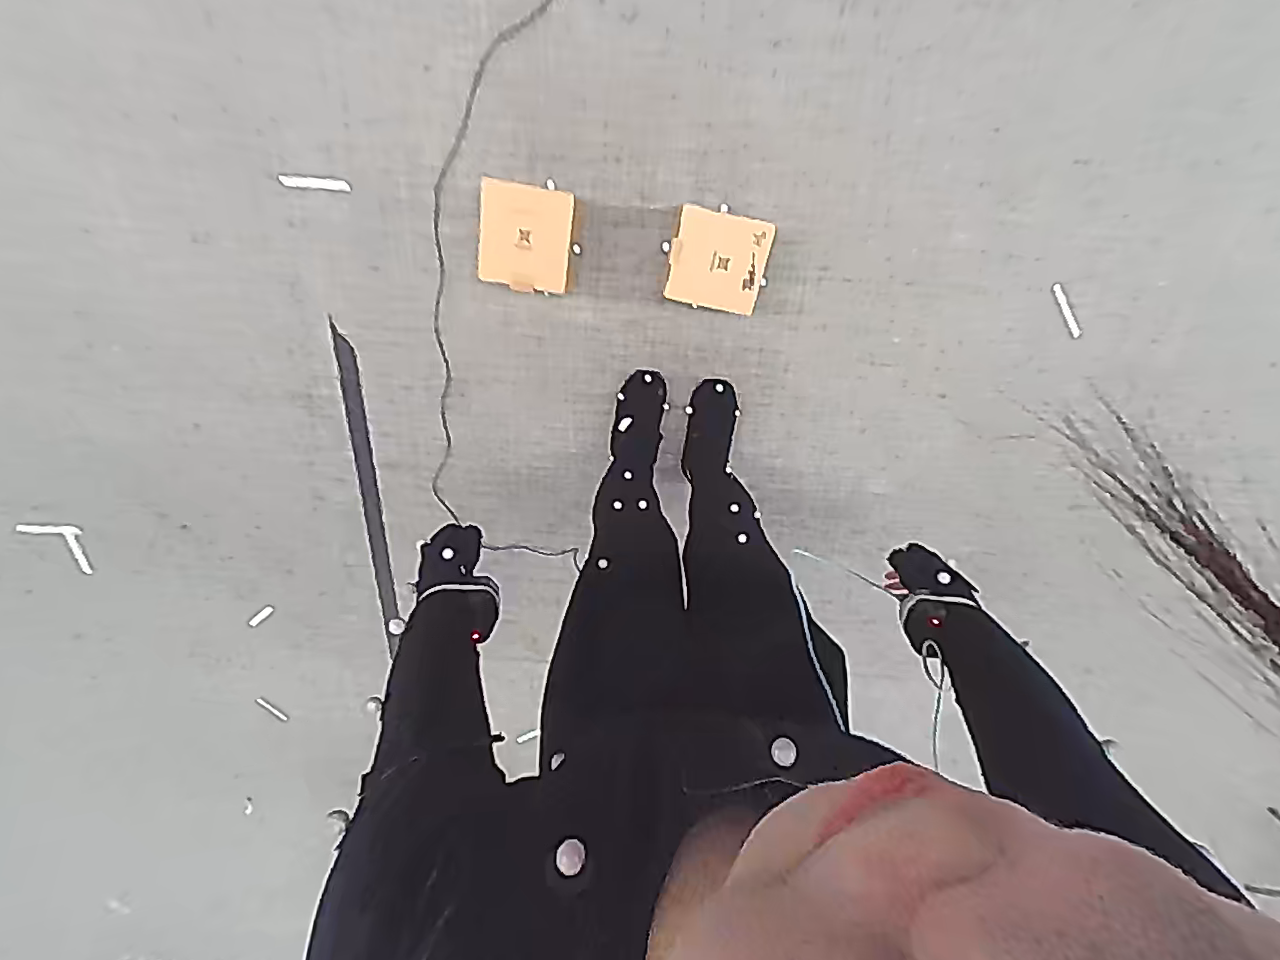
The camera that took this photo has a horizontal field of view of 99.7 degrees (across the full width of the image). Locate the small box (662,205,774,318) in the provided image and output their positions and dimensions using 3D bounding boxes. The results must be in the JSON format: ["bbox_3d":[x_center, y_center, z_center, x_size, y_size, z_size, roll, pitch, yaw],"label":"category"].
[{"bbox_3d":[0.144,-0.435,1.076,0.179,0.176,0.168,12,115,-4],"label":"small box"}]

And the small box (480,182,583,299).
[{"bbox_3d":[-0.208,-0.471,1.067,0.168,0.176,0.179,9,115,-4],"label":"small box"}]
